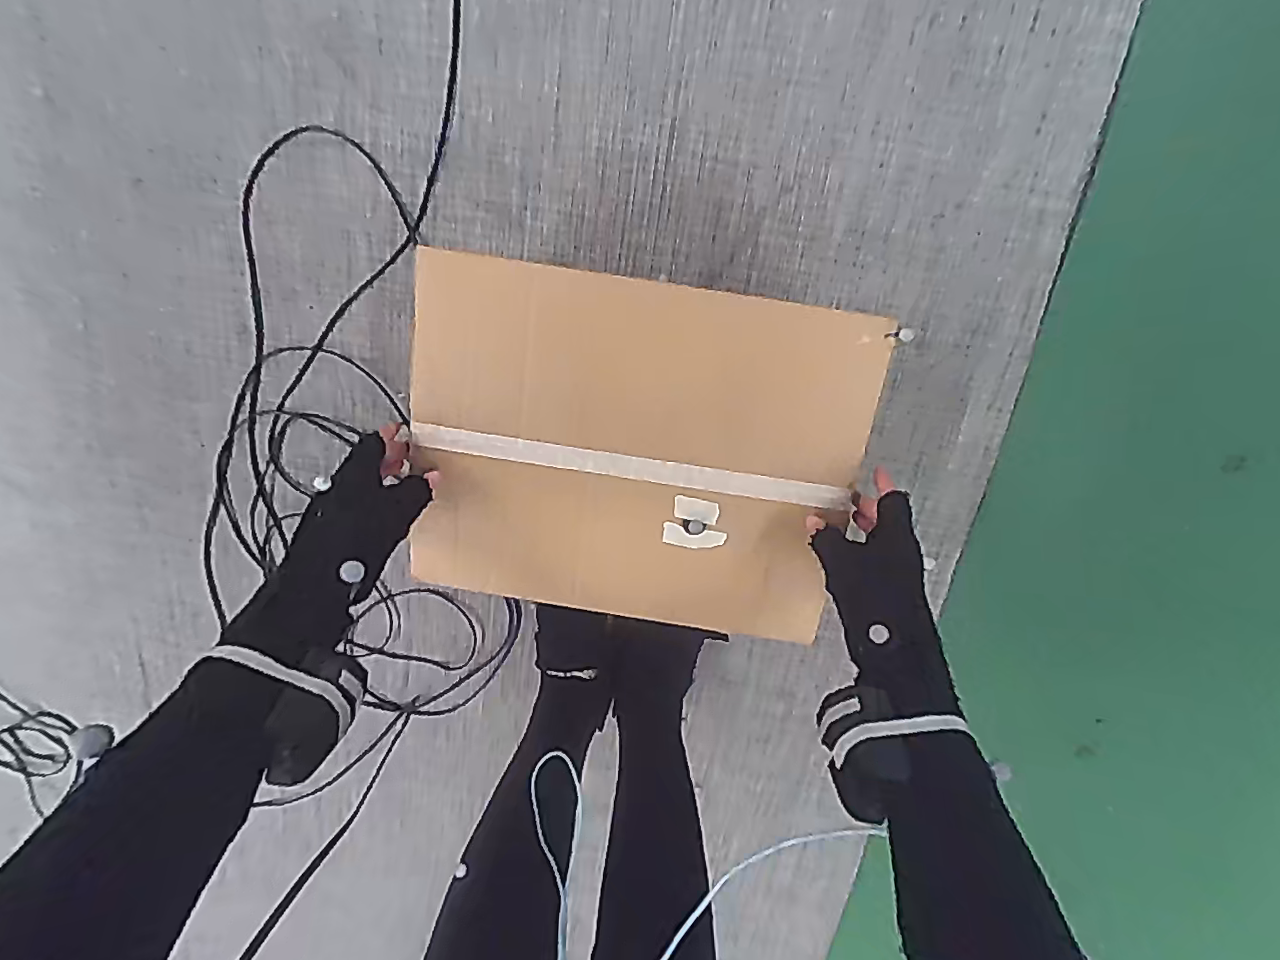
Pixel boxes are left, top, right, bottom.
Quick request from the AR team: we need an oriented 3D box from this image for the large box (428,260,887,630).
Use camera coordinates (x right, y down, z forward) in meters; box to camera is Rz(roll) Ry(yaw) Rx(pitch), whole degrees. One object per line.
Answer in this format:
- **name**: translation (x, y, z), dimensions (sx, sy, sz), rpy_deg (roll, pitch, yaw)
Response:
- **large box**: translation (0.005, -0.058, 0.650), dimensions (0.408, 0.320, 0.320), rpy_deg (9, 106, 1)
